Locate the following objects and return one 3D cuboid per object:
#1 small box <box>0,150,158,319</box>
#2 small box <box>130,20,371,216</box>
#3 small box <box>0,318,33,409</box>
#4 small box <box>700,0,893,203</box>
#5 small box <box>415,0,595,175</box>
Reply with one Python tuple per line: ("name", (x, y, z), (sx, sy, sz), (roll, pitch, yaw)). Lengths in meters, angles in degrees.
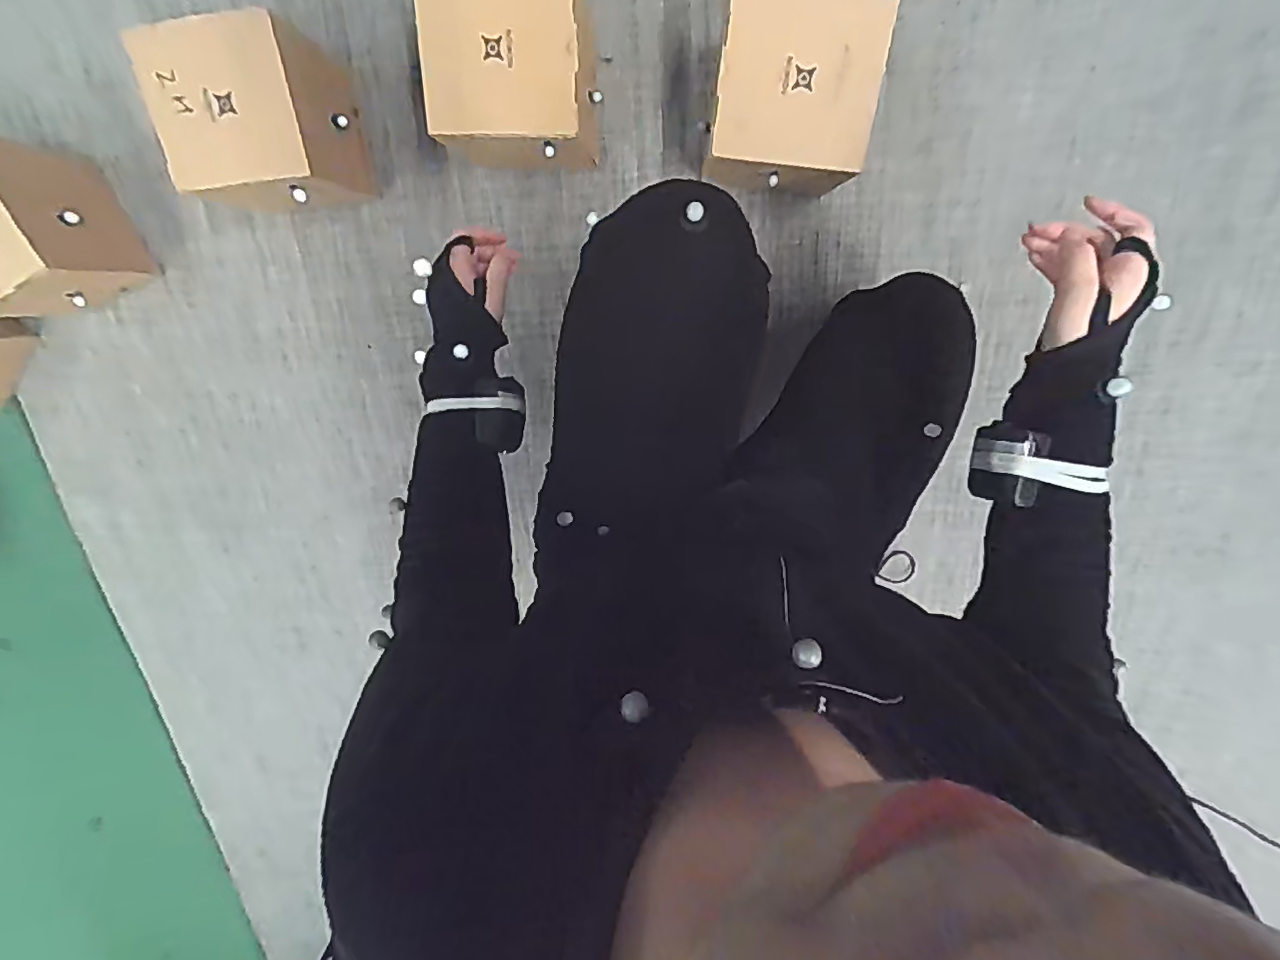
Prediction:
("small box", (-0.854, -0.341, 0.762), (0.168, 0.176, 0.179), (-19, 107, 10))
("small box", (-0.476, -0.449, 0.699), (0.179, 0.176, 0.168), (-4, 108, 4))
("small box", (-1.111, -0.201, 0.825), (0.168, 0.176, 0.179), (41, 105, -10))
("small box", (0.172, -0.448, 0.662), (0.179, 0.176, 0.168), (7, 110, 1))
("small box", (-0.153, -0.487, 0.669), (0.179, 0.176, 0.168), (2, 109, 2))
